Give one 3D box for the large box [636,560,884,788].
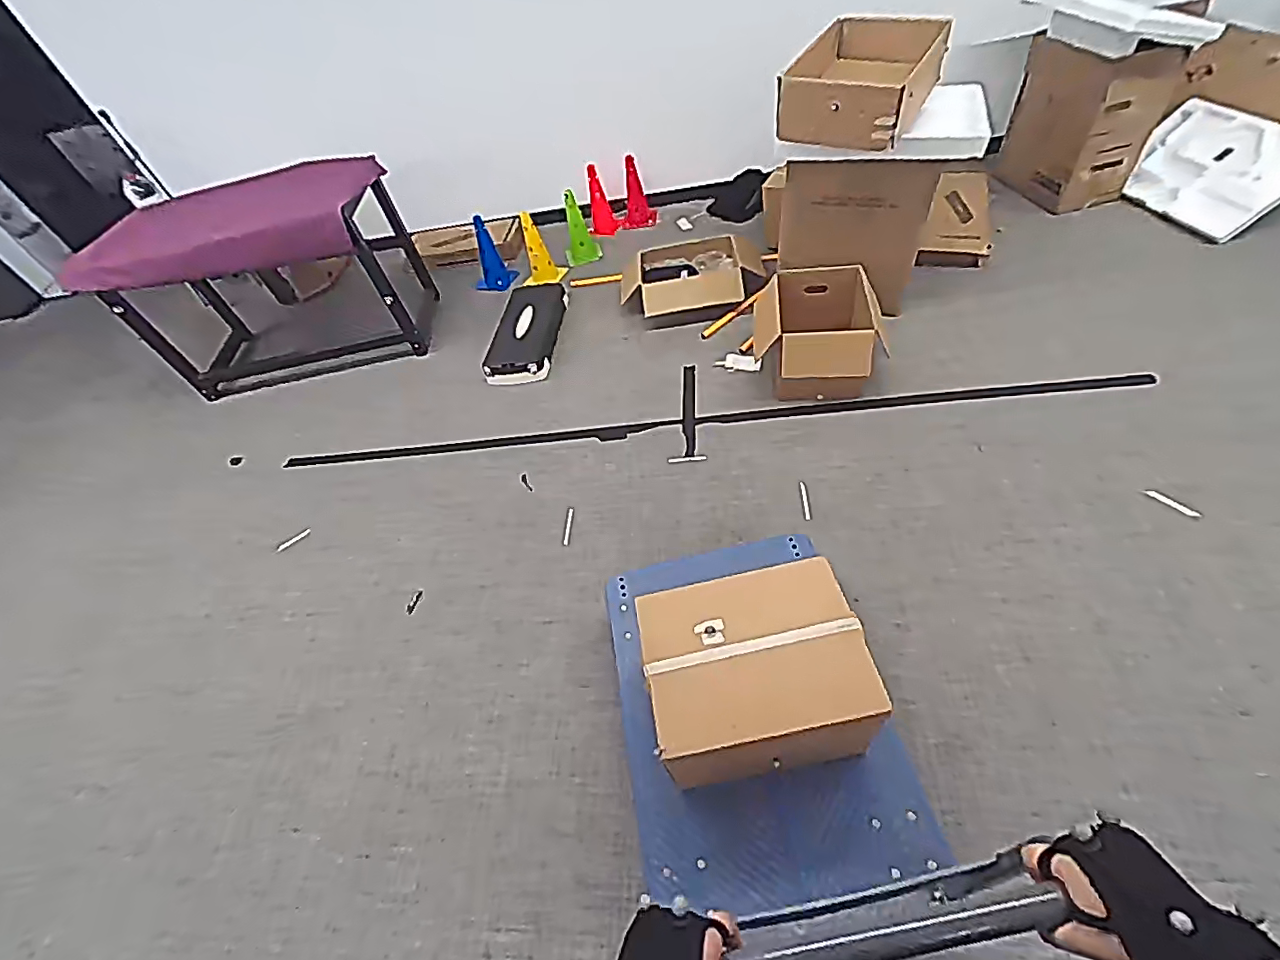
[{"bbox_3d":[0.236,0.420,1.149,0.408,0.320,0.320,-14,49,2],"label":"large box"}]
